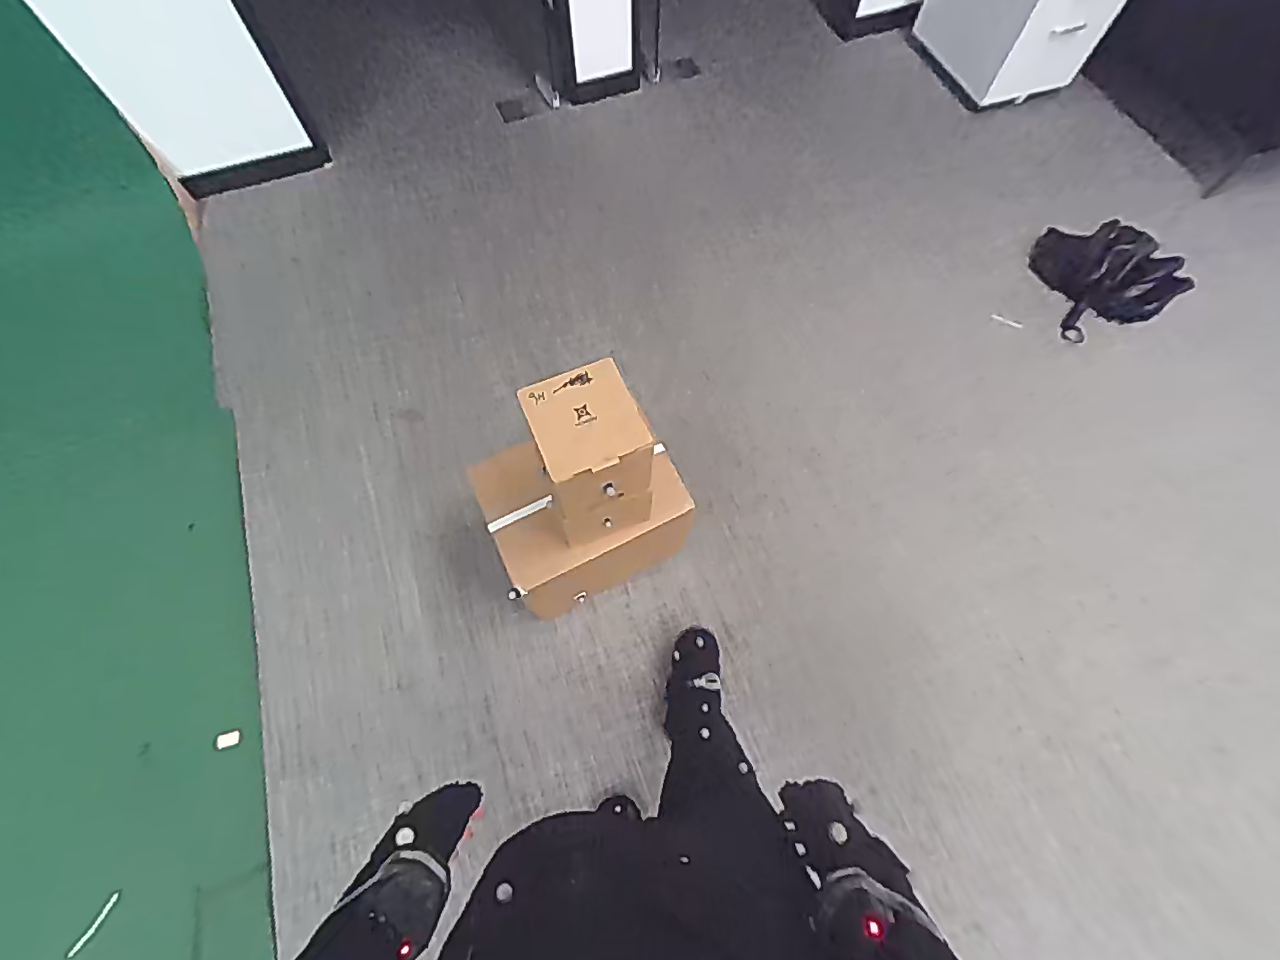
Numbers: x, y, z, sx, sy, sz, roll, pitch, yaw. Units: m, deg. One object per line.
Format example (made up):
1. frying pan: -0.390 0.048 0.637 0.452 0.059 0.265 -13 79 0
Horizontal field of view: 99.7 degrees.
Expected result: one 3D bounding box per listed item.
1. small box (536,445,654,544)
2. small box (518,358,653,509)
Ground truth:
1. small box: -0.084 0.005 1.053 0.179 0.176 0.168 -21 69 -8
2. small box: -0.085 -0.066 0.906 0.168 0.176 0.179 -22 70 -9
